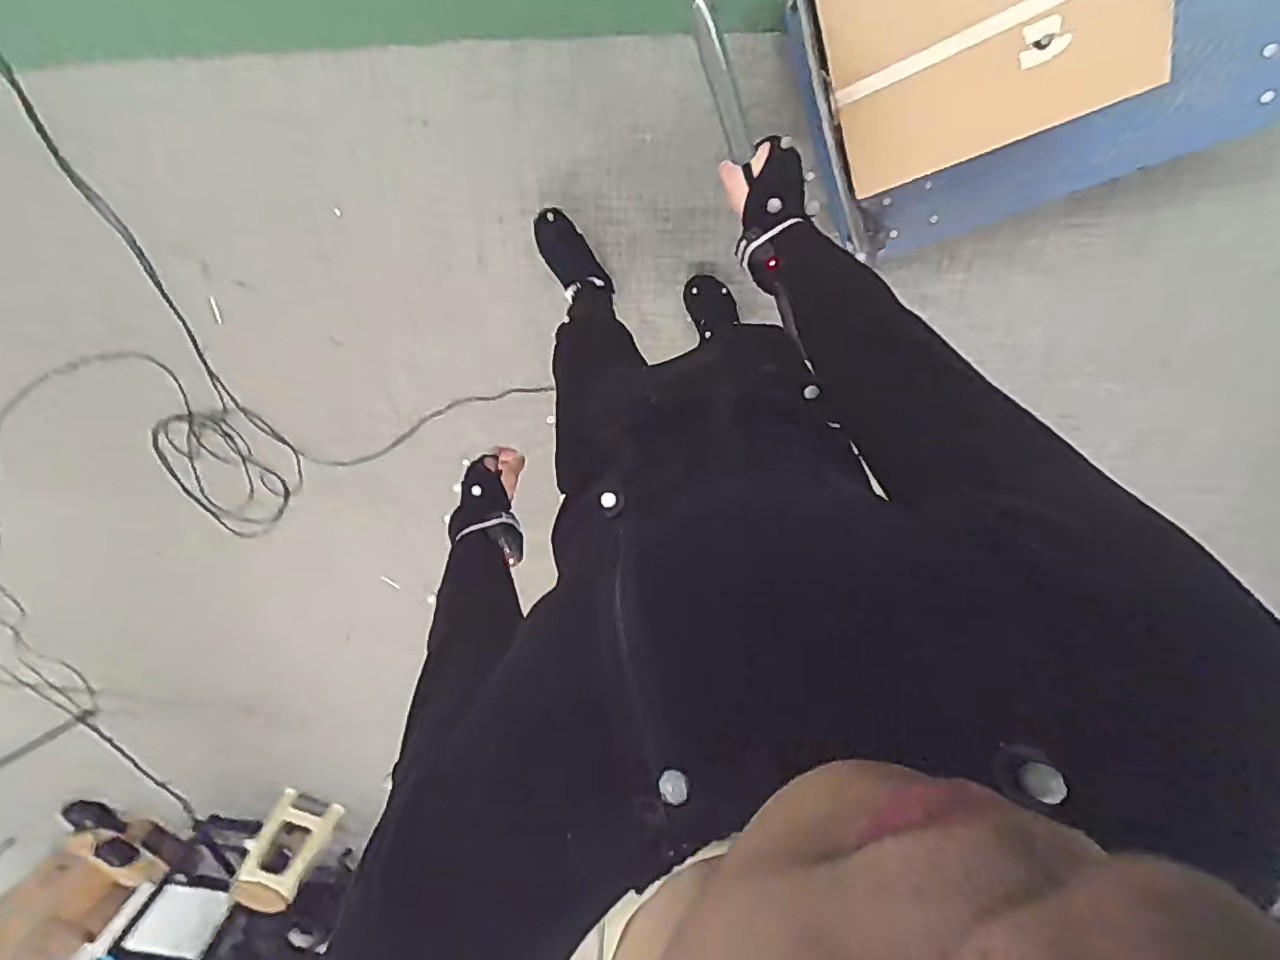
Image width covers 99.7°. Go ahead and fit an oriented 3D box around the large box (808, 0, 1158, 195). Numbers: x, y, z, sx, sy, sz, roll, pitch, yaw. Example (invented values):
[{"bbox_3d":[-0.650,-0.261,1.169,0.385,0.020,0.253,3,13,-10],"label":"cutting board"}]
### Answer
[{"bbox_3d":[0.523,-0.724,0.888,0.408,0.320,0.320,-11,119,27],"label":"large box"}]
